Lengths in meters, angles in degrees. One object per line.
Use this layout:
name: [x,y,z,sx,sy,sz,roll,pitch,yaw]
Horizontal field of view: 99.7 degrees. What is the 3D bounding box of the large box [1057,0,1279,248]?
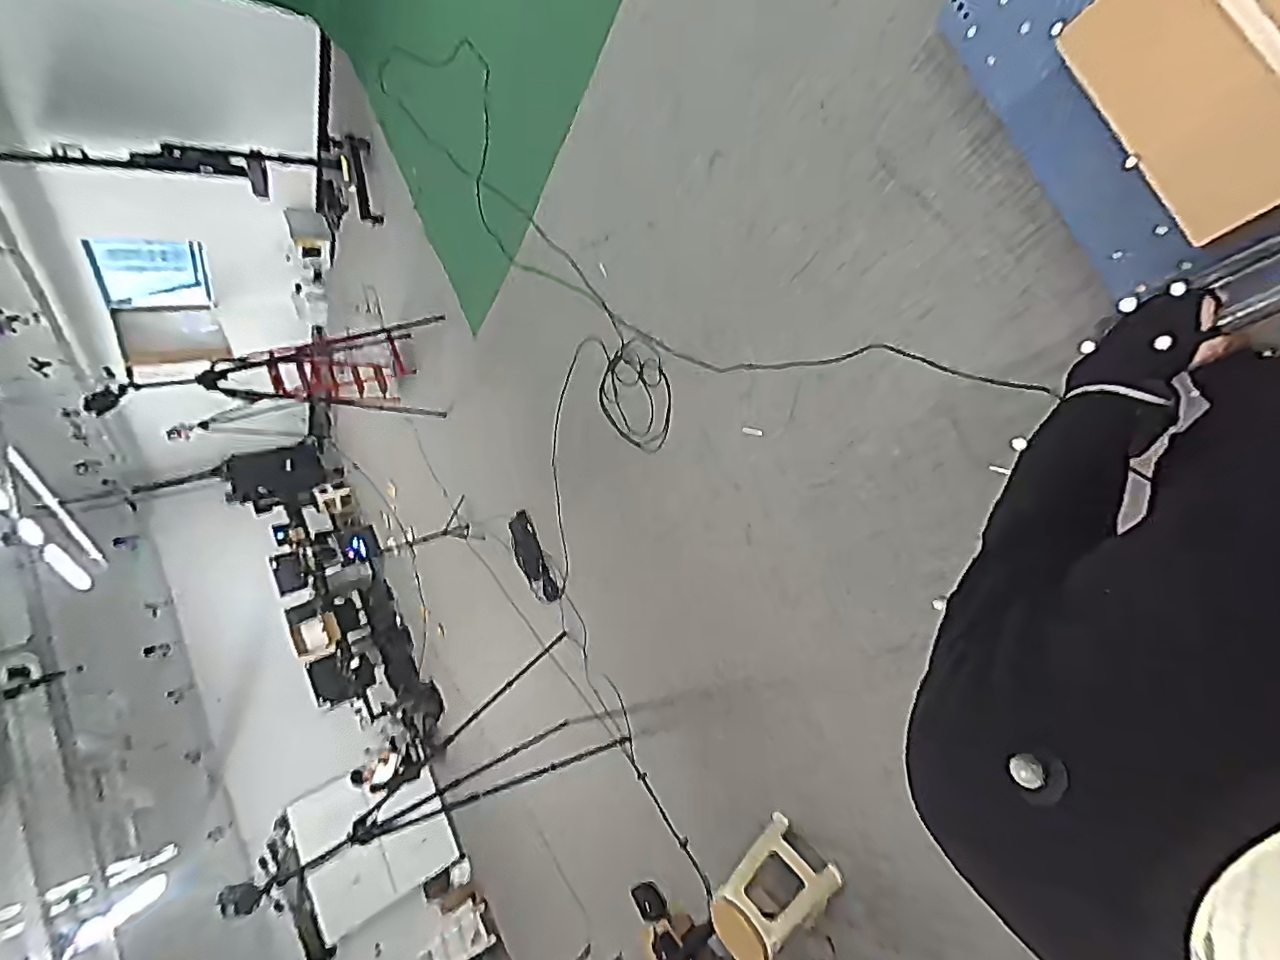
large box: [0.945,-0.618,0.813,0.320,0.320,0.408,-35,75,50]
